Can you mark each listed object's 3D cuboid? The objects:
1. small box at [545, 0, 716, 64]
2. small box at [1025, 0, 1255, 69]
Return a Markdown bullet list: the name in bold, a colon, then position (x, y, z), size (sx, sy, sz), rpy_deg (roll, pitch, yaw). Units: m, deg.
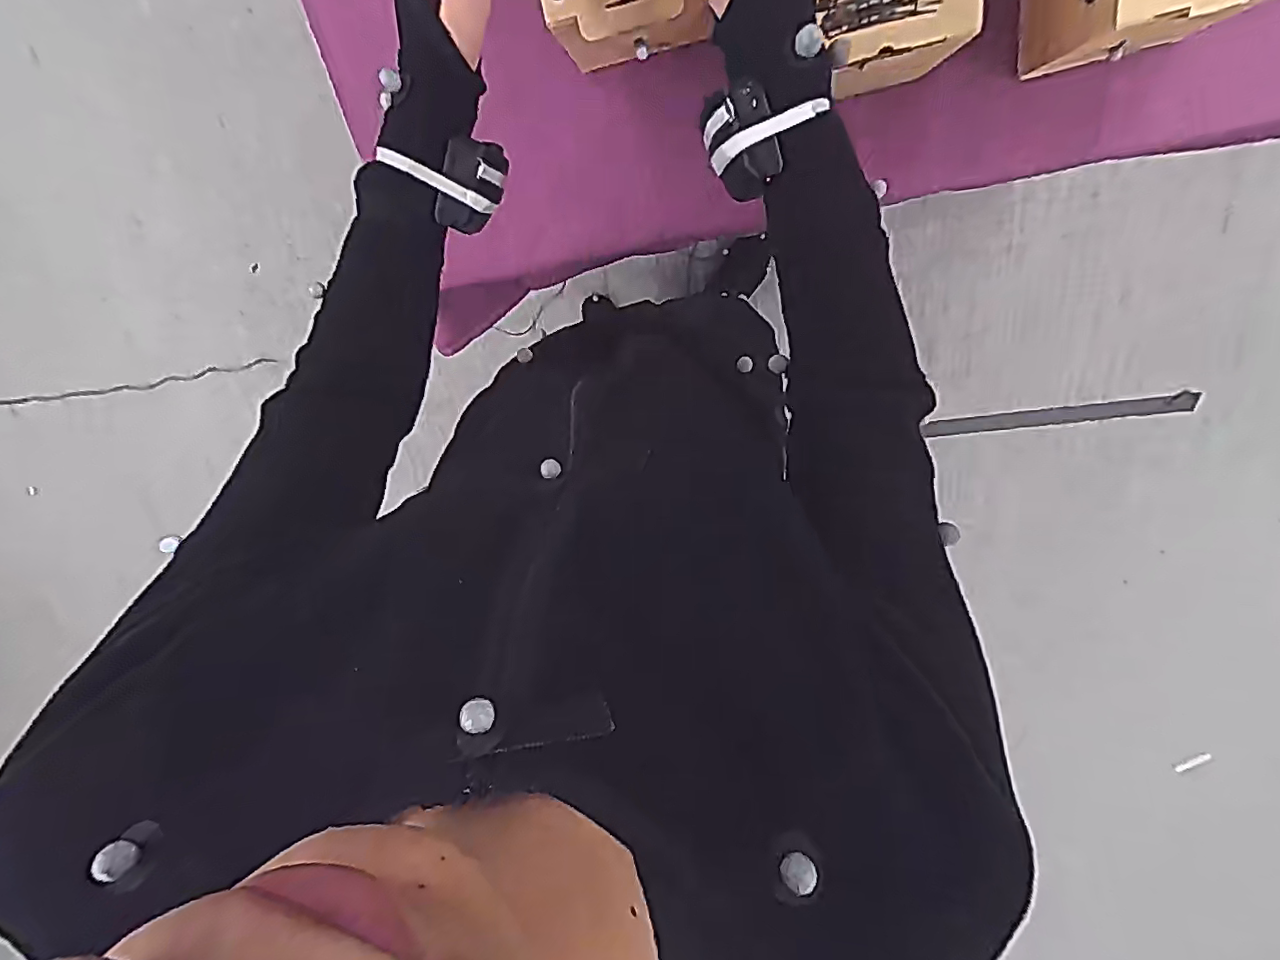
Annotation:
- **small box**: position (-0.014, -0.562, 0.544), size (0.168, 0.176, 0.179), rpy_deg (-7, 114, 11)
- **small box**: position (0.492, -0.525, 0.502), size (0.168, 0.176, 0.179), rpy_deg (-9, 114, 11)
